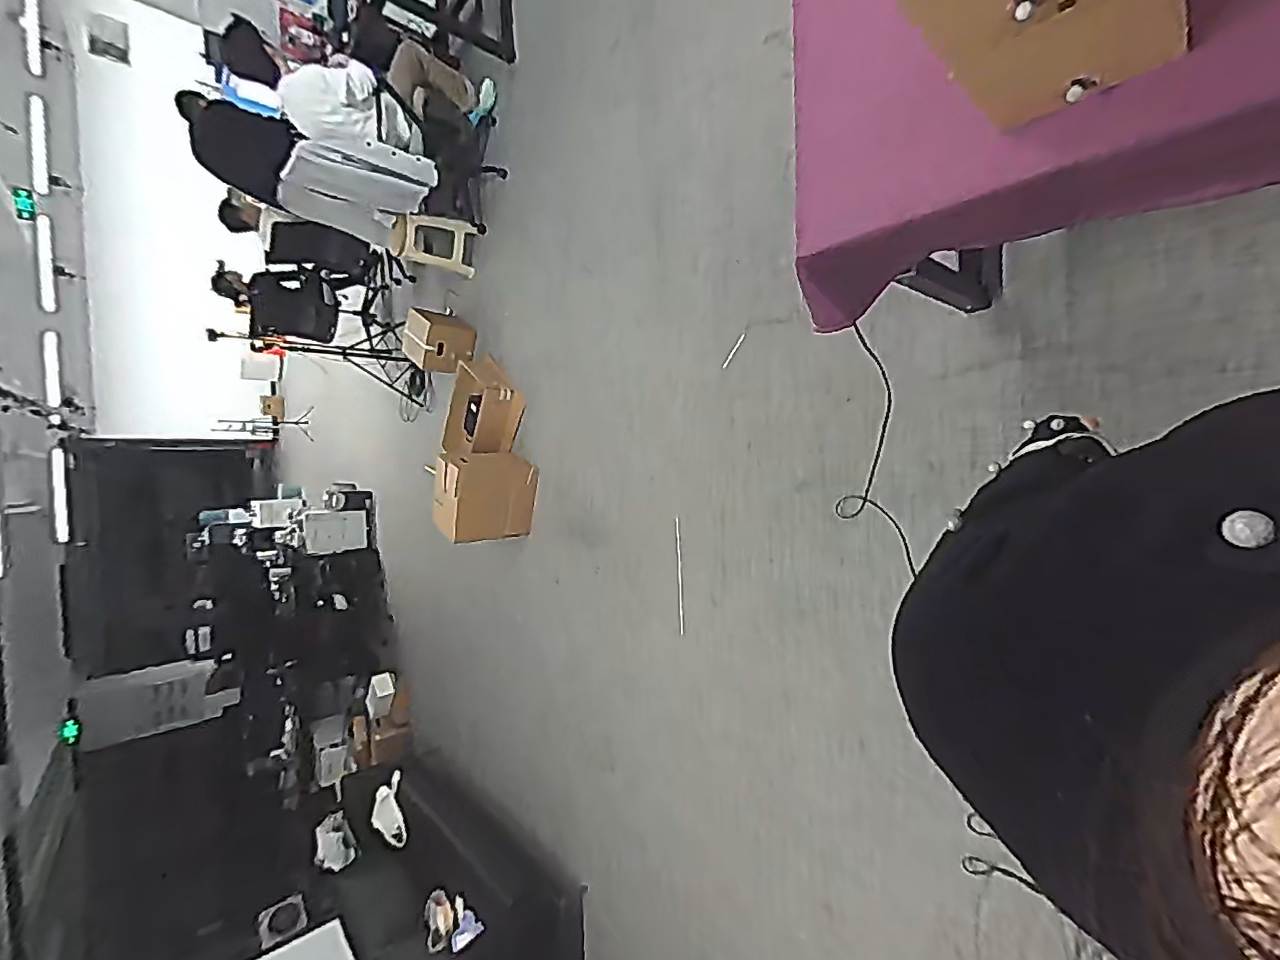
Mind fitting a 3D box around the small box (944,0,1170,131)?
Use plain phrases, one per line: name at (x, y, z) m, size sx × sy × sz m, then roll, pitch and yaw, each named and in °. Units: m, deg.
small box at (0.451, -0.527, 0.586) m, size 0.179 × 0.176 × 0.168 m, roll -1°, pitch 91°, yaw 48°
